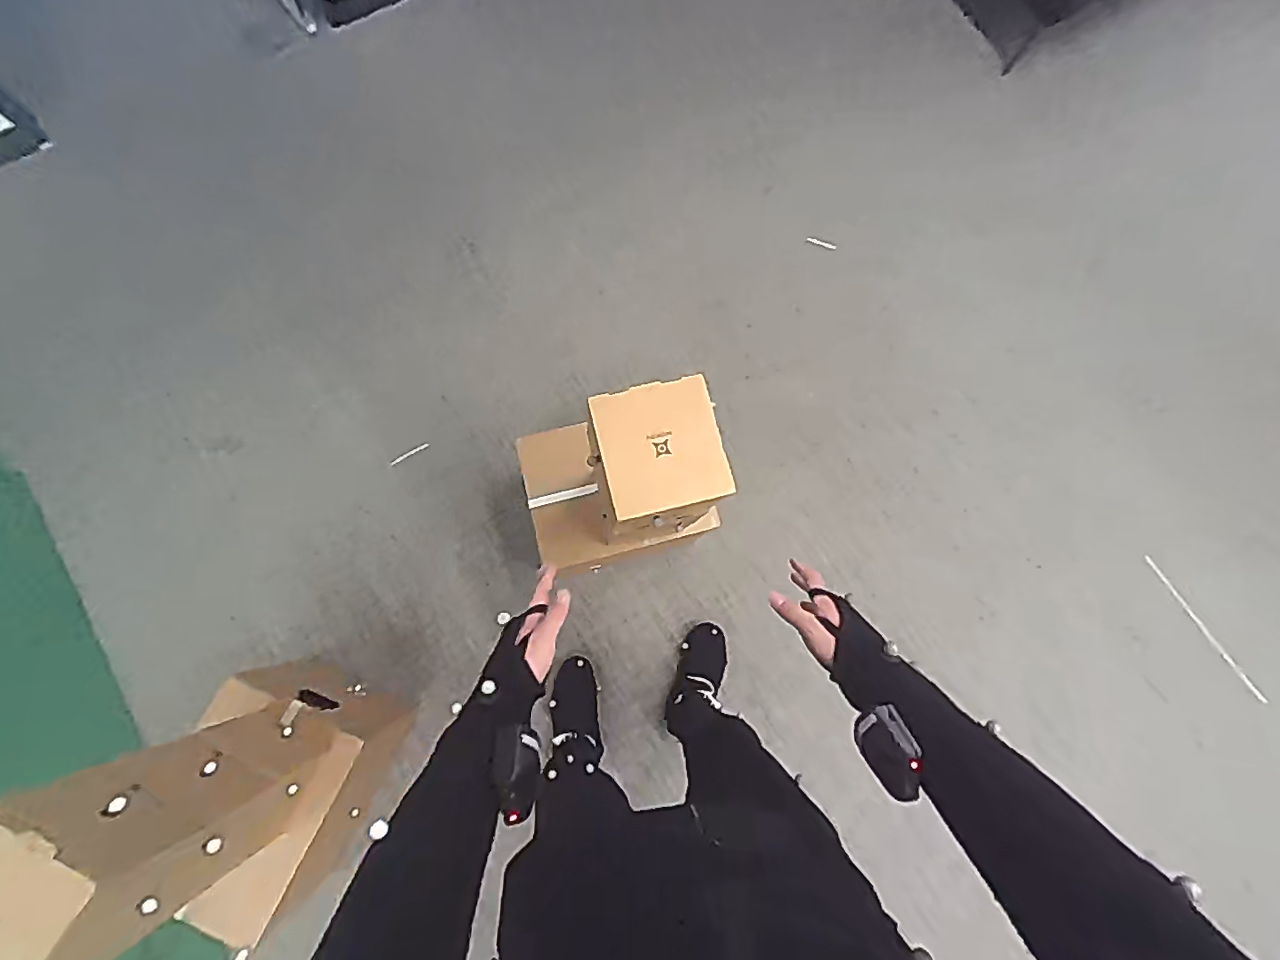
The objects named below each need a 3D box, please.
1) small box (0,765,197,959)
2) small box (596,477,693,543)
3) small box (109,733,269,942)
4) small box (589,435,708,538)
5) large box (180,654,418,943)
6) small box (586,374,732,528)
[{"bbox_3d":[-0.690,0.477,0.645,0.168,0.176,0.179,29,77,3],"label":"small box"},{"bbox_3d":[0.001,0.026,1.117,0.168,0.176,0.179,-11,80,-6],"label":"small box"},{"bbox_3d":[-0.703,0.510,0.805,0.168,0.176,0.179,29,78,3],"label":"small box"},{"bbox_3d":[0.011,0.001,0.957,0.168,0.176,0.179,-13,80,-6],"label":"small box"},{"bbox_3d":[-0.766,0.650,1.192,0.320,0.320,0.408,24,79,3],"label":"large box"},{"bbox_3d":[0.021,-0.032,0.799,0.168,0.176,0.179,-13,80,-6],"label":"small box"}]
